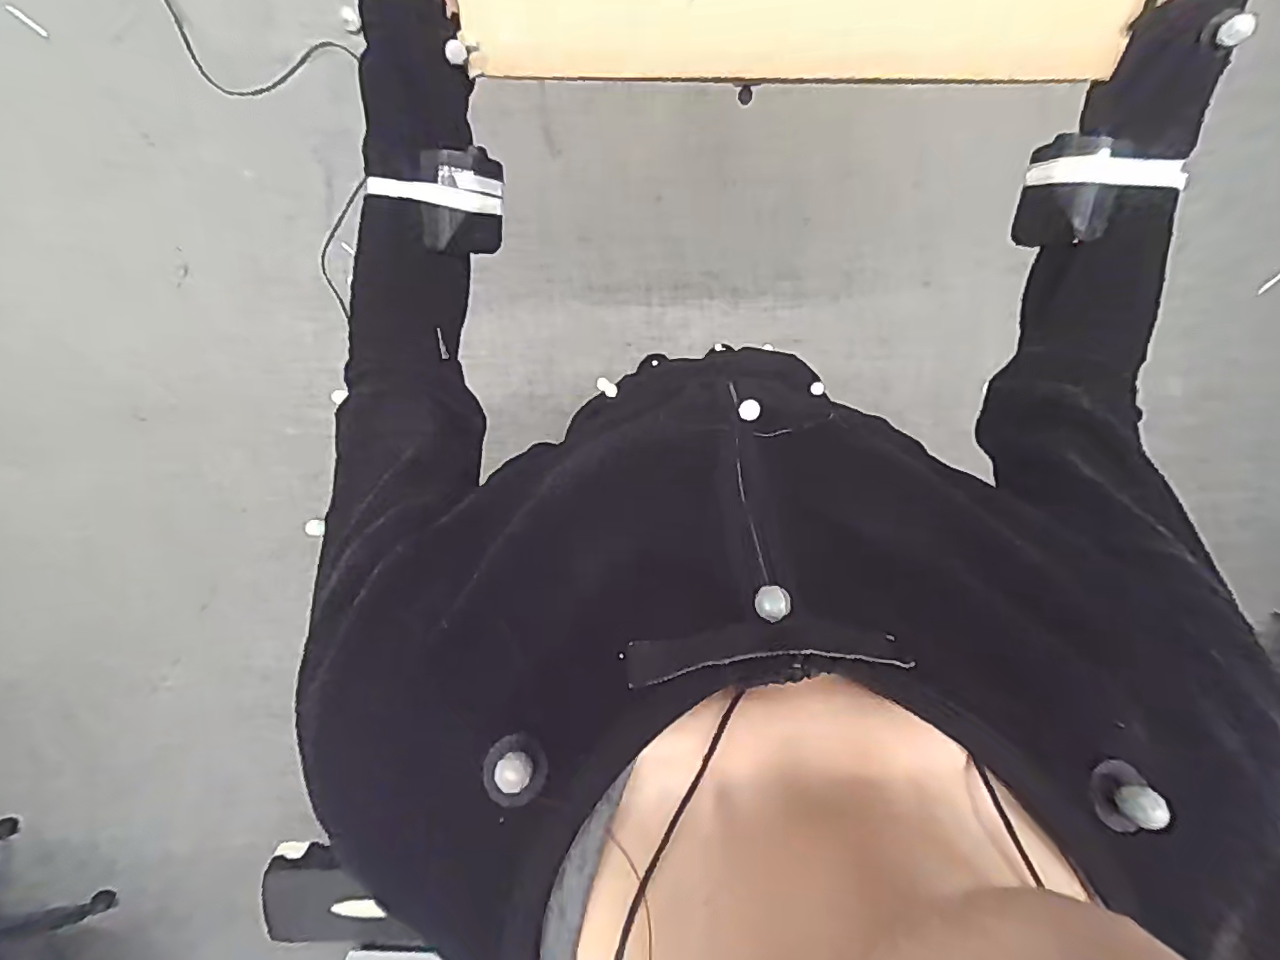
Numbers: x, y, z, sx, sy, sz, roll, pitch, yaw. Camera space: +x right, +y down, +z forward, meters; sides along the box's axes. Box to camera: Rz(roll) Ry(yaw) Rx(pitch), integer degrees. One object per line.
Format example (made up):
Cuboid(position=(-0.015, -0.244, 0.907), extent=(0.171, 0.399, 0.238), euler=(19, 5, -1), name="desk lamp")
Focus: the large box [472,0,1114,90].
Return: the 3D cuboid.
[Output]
Cuboid(position=(0.095, -0.475, 0.386), extent=(0.408, 0.320, 0.320), euler=(0, 125, 0), name="large box")
